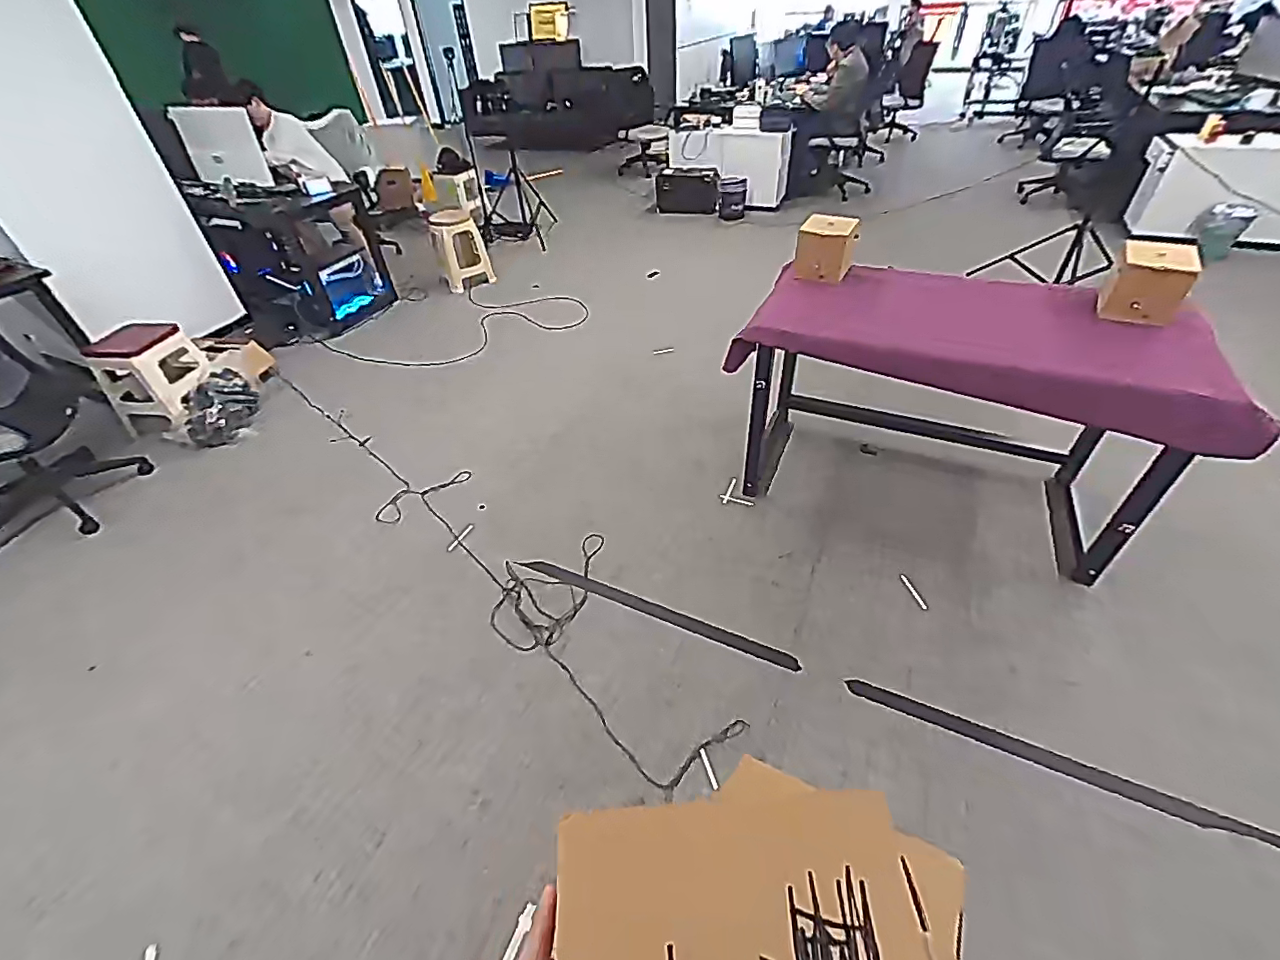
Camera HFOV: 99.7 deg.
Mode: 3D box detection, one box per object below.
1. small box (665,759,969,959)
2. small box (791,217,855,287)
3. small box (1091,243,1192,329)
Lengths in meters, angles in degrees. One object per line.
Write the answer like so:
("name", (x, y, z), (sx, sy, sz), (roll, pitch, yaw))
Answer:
("small box", (0.133, 0.366, 0.447), (0.179, 0.176, 0.168), (22, 54, 15))
("small box", (0.647, -0.811, 1.923), (0.168, 0.176, 0.179), (18, 48, 23))
("small box", (1.469, -0.573, 1.597), (0.168, 0.176, 0.179), (19, 51, 23))
